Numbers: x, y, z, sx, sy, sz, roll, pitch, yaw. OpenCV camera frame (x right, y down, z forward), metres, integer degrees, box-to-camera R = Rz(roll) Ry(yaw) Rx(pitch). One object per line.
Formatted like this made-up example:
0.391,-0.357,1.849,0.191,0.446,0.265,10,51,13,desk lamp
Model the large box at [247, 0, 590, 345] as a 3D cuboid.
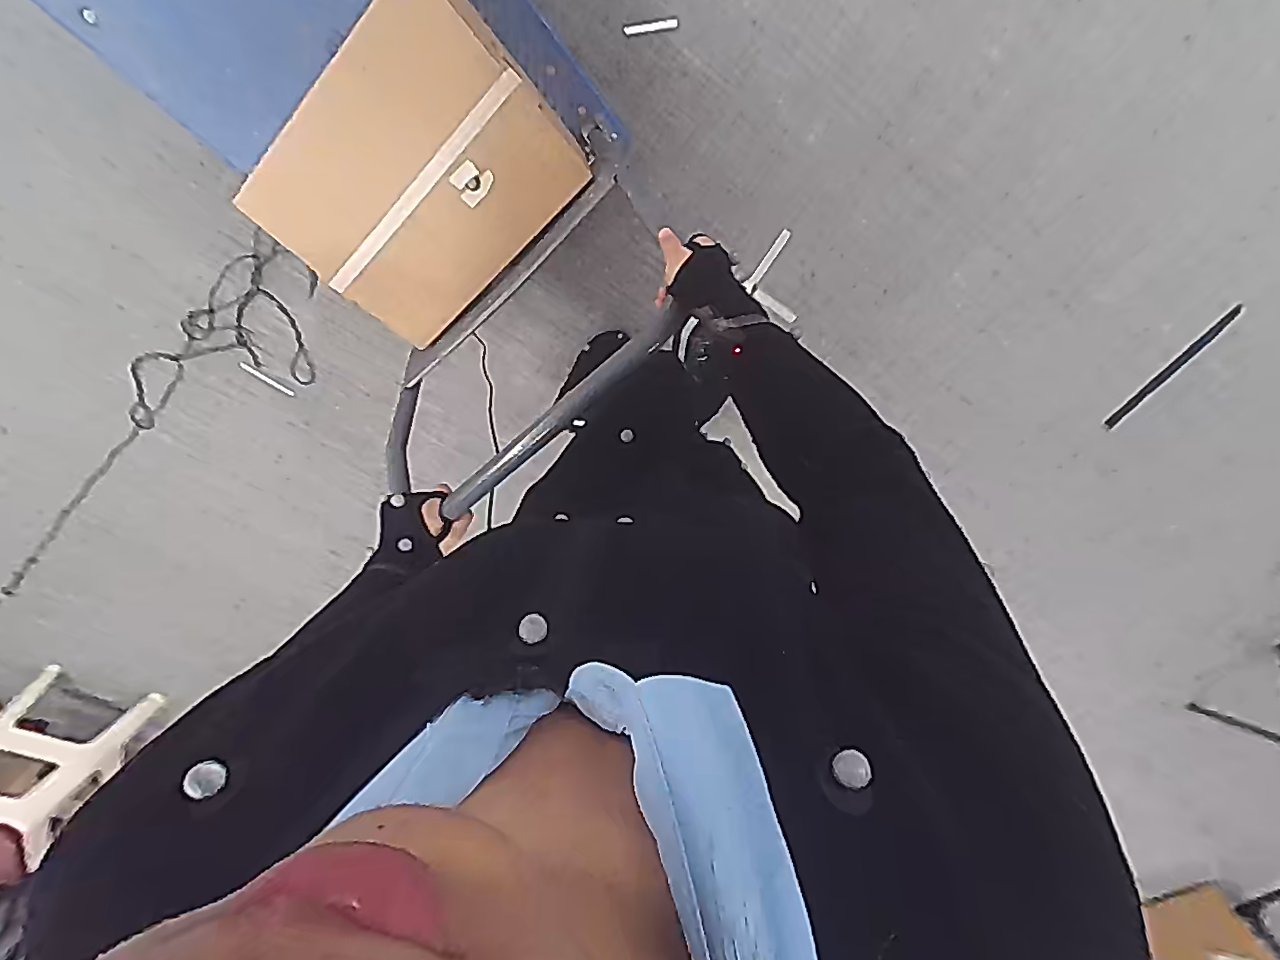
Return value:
-0.338,-0.513,0.899,0.408,0.320,0.320,-38,125,18,large box
